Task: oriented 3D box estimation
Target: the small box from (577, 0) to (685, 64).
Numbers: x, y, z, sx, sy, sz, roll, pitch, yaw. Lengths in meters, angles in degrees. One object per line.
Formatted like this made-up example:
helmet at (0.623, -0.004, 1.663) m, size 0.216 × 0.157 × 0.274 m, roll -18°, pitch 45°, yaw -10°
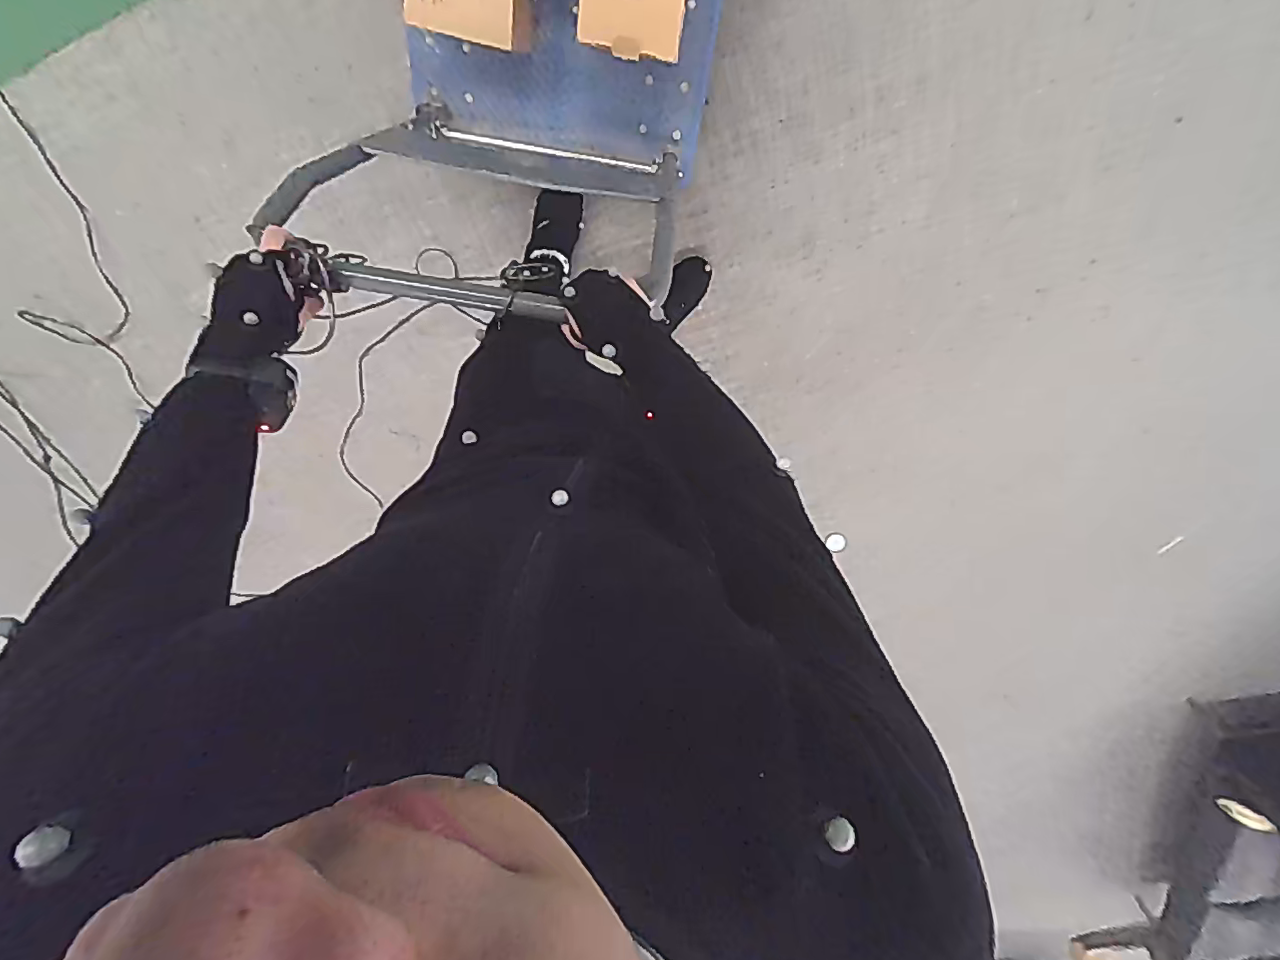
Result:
small box at (-0.007, -0.815, 0.896) m, size 0.168 × 0.176 × 0.179 m, roll 9°, pitch 129°, yaw -3°
